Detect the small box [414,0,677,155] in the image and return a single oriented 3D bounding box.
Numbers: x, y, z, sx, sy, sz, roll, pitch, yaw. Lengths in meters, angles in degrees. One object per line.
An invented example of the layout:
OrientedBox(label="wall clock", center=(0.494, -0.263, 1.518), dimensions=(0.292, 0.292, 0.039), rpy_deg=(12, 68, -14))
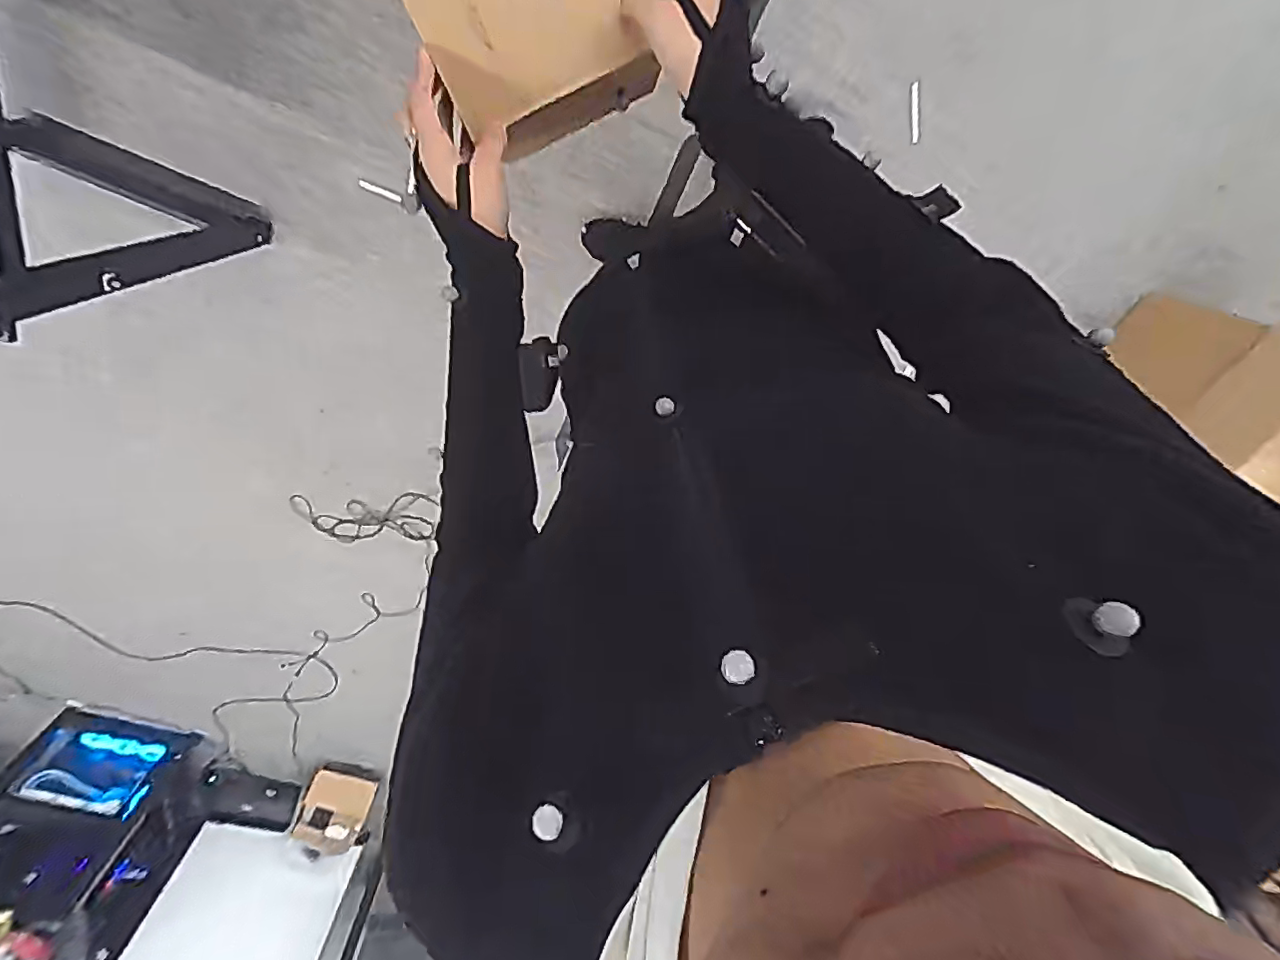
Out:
OrientedBox(label="small box", center=(-0.087, -0.405, 0.456), dimensions=(0.179, 0.176, 0.168), rpy_deg=(-23, 113, 6))
